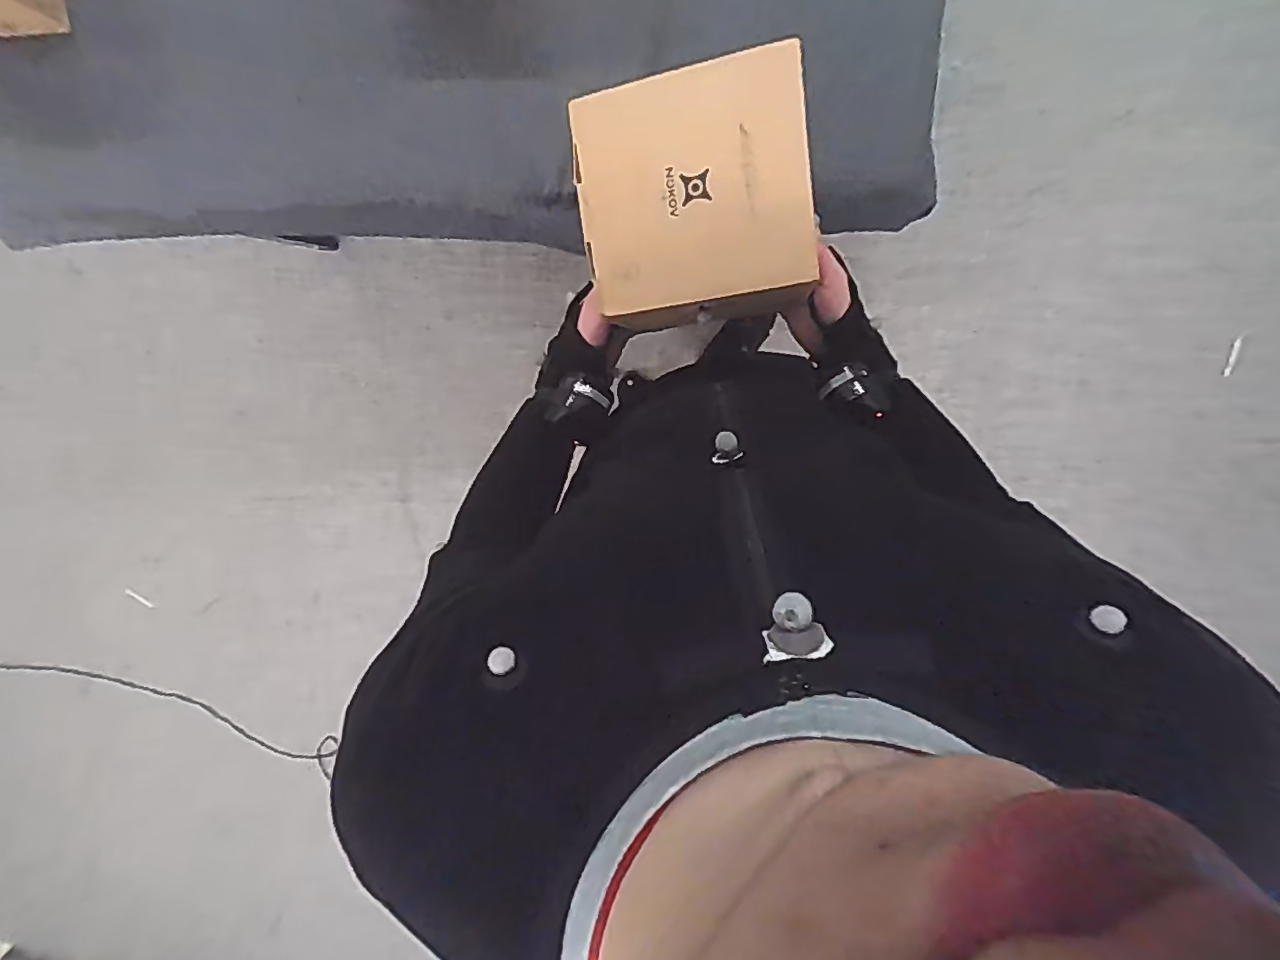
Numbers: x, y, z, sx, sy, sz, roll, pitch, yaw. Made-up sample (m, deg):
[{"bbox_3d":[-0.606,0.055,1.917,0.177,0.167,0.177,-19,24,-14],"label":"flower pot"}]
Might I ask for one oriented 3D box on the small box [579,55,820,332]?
[{"bbox_3d":[0.061,-0.236,0.500,0.179,0.176,0.168,-6,100,12],"label":"small box"}]
